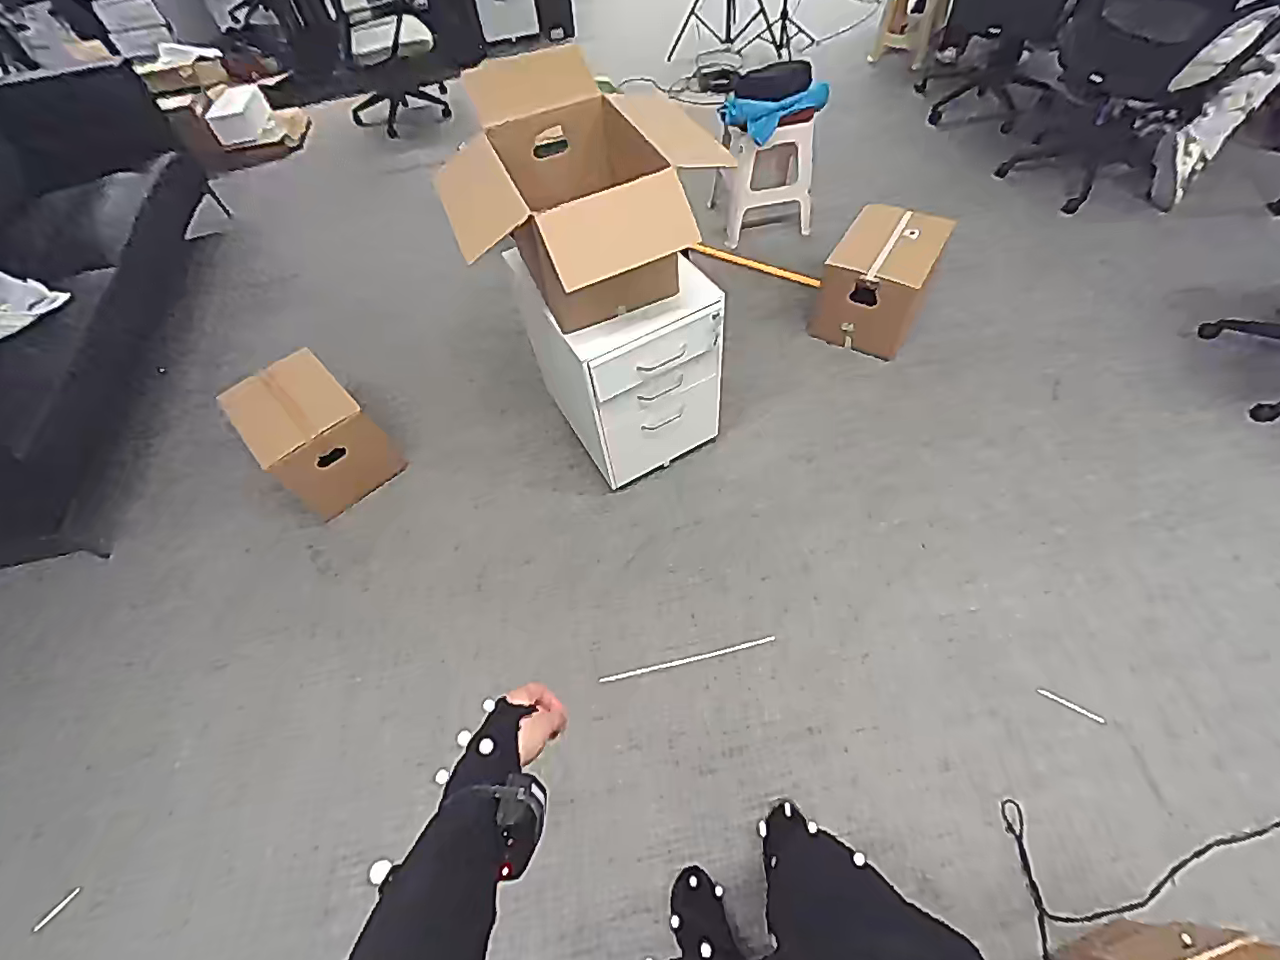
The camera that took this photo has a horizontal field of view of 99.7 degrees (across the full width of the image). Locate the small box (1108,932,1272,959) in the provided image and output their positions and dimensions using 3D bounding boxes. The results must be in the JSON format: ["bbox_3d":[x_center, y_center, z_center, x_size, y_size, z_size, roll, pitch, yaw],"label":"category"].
[{"bbox_3d":[0.866,0.811,0.809,0.179,0.176,0.168,-17,55,-3],"label":"small box"}]

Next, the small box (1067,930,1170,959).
[{"bbox_3d":[0.891,0.916,0.933,0.179,0.176,0.168,-19,56,-7],"label":"small box"}]
